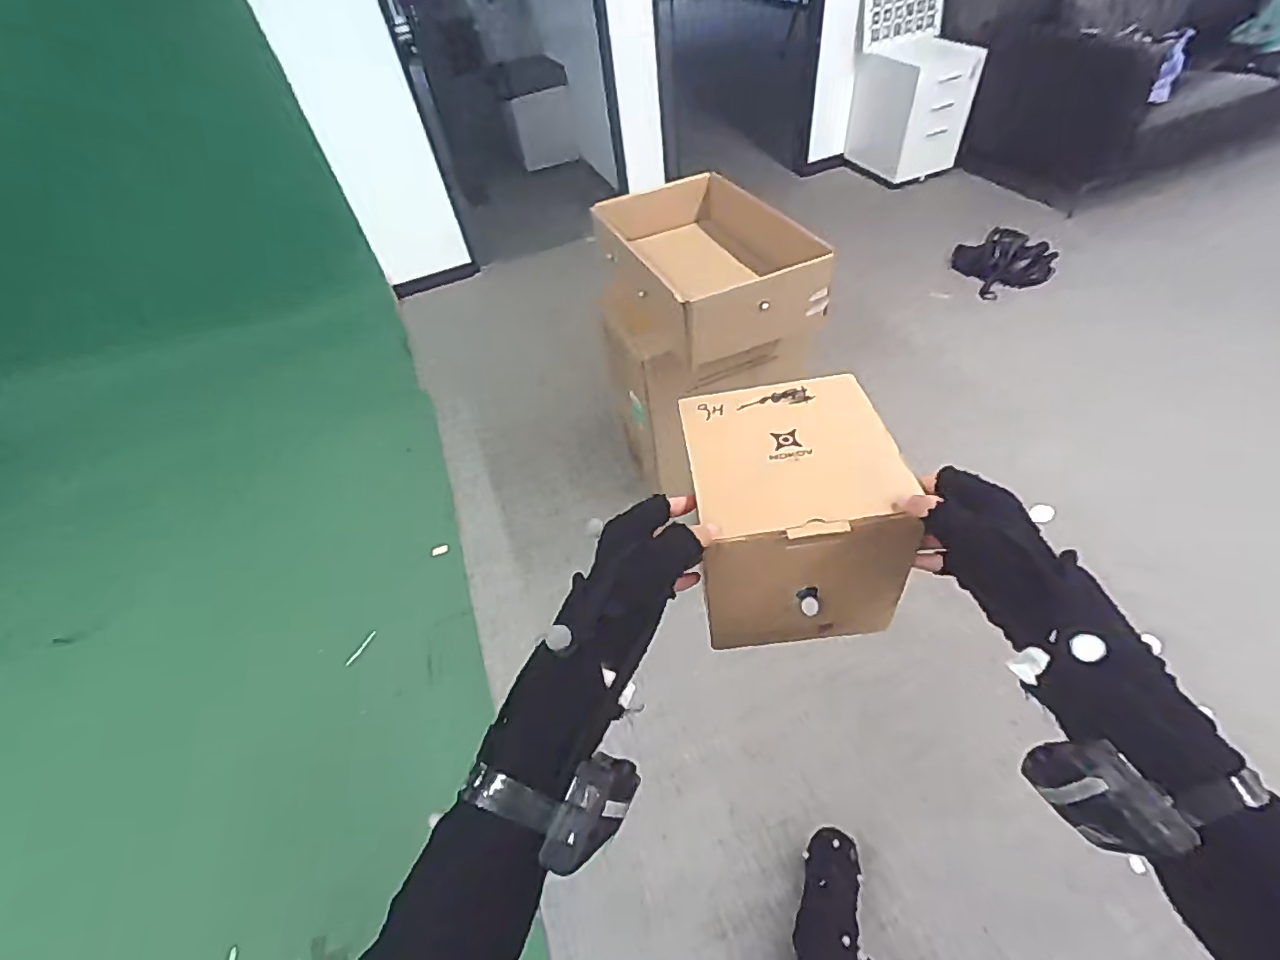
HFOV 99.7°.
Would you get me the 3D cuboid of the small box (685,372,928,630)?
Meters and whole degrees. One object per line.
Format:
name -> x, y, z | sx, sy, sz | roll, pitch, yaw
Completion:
small box -> 0.138, 0.027, 0.511 | 0.168, 0.176, 0.179 | -8, 46, 3
